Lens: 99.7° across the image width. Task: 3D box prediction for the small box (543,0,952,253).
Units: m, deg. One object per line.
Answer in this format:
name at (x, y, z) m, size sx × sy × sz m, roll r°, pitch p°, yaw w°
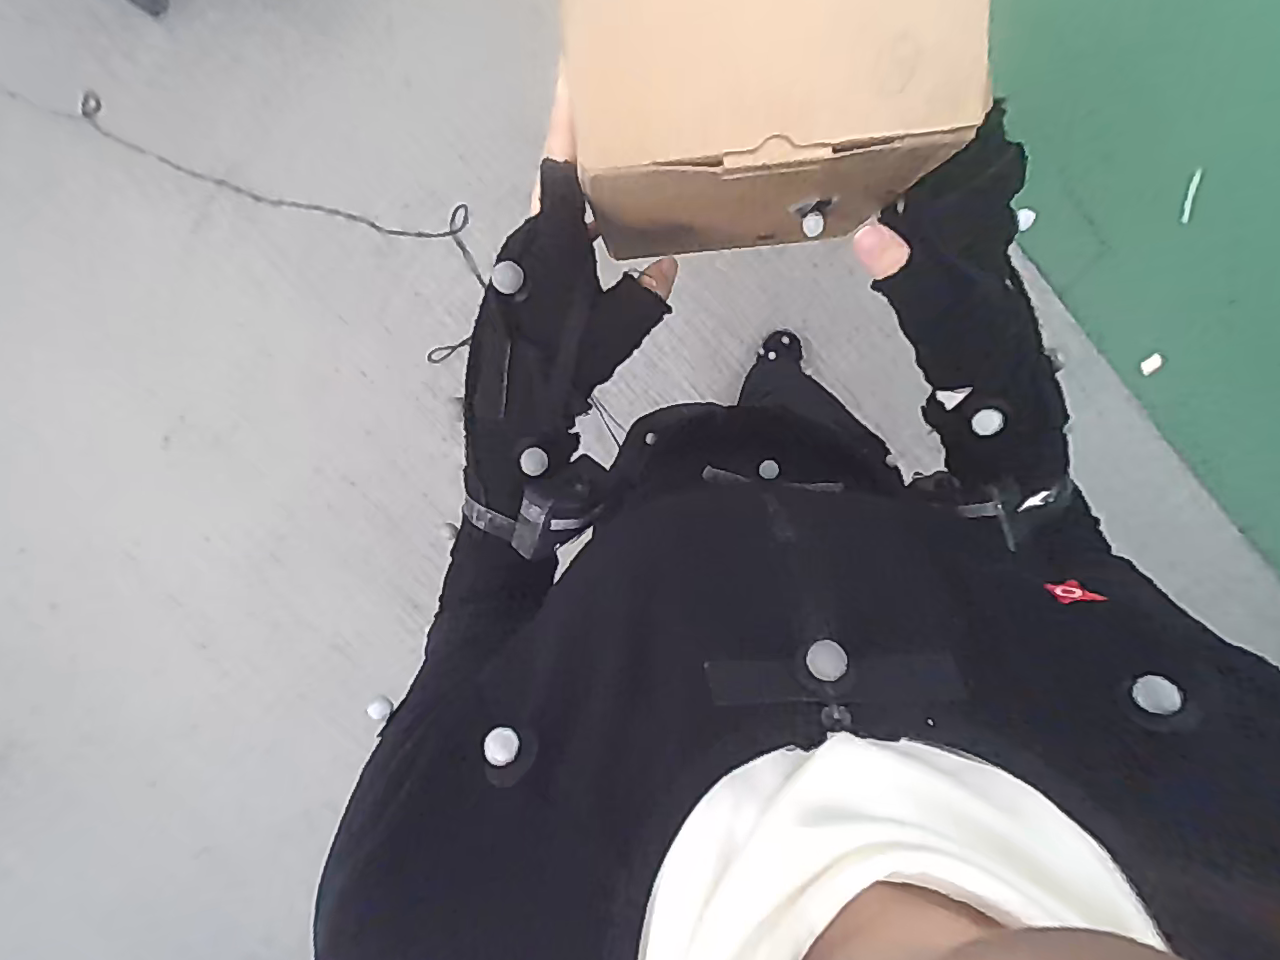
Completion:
small box at (0.043, -0.233, 0.293) m, size 0.168 × 0.176 × 0.179 m, roll -6°, pitch 100°, yaw 3°
